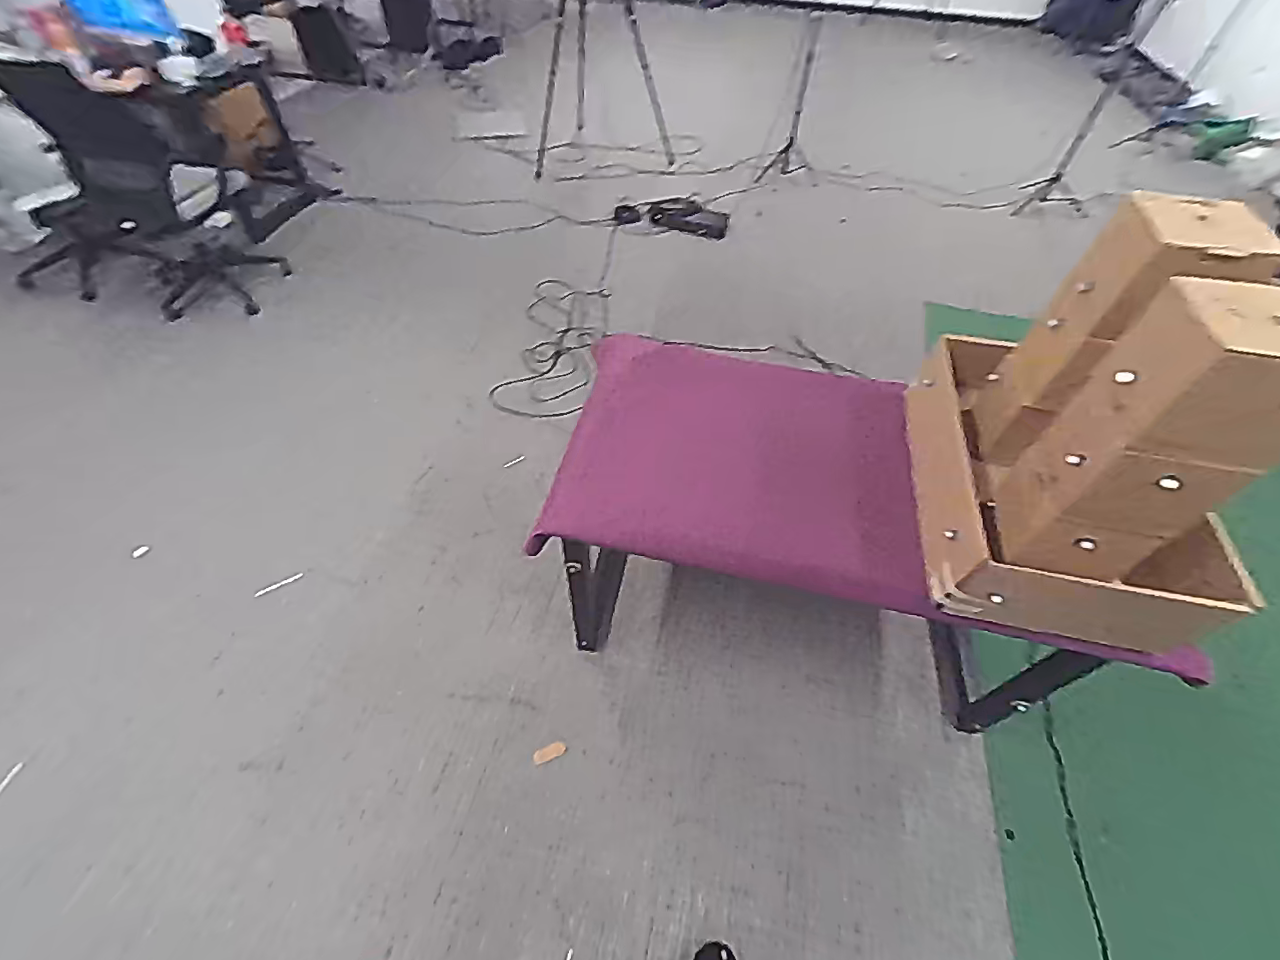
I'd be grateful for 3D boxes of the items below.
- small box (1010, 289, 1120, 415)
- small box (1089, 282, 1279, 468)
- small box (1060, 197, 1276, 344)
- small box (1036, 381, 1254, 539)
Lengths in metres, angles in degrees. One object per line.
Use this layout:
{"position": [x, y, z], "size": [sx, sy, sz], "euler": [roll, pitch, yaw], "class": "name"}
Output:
{"position": [0.834, -0.227, 1.013], "size": [0.168, 0.176, 0.179], "euler": [12, 52, 8], "class": "small box"}
{"position": [0.765, -0.136, 0.723], "size": [0.179, 0.176, 0.168], "euler": [11, 51, 9], "class": "small box"}
{"position": [0.839, -0.331, 0.885], "size": [0.168, 0.176, 0.179], "euler": [12, 53, 8], "class": "small box"}
{"position": [0.762, -0.028, 0.849], "size": [0.179, 0.176, 0.168], "euler": [12, 52, 9], "class": "small box"}
